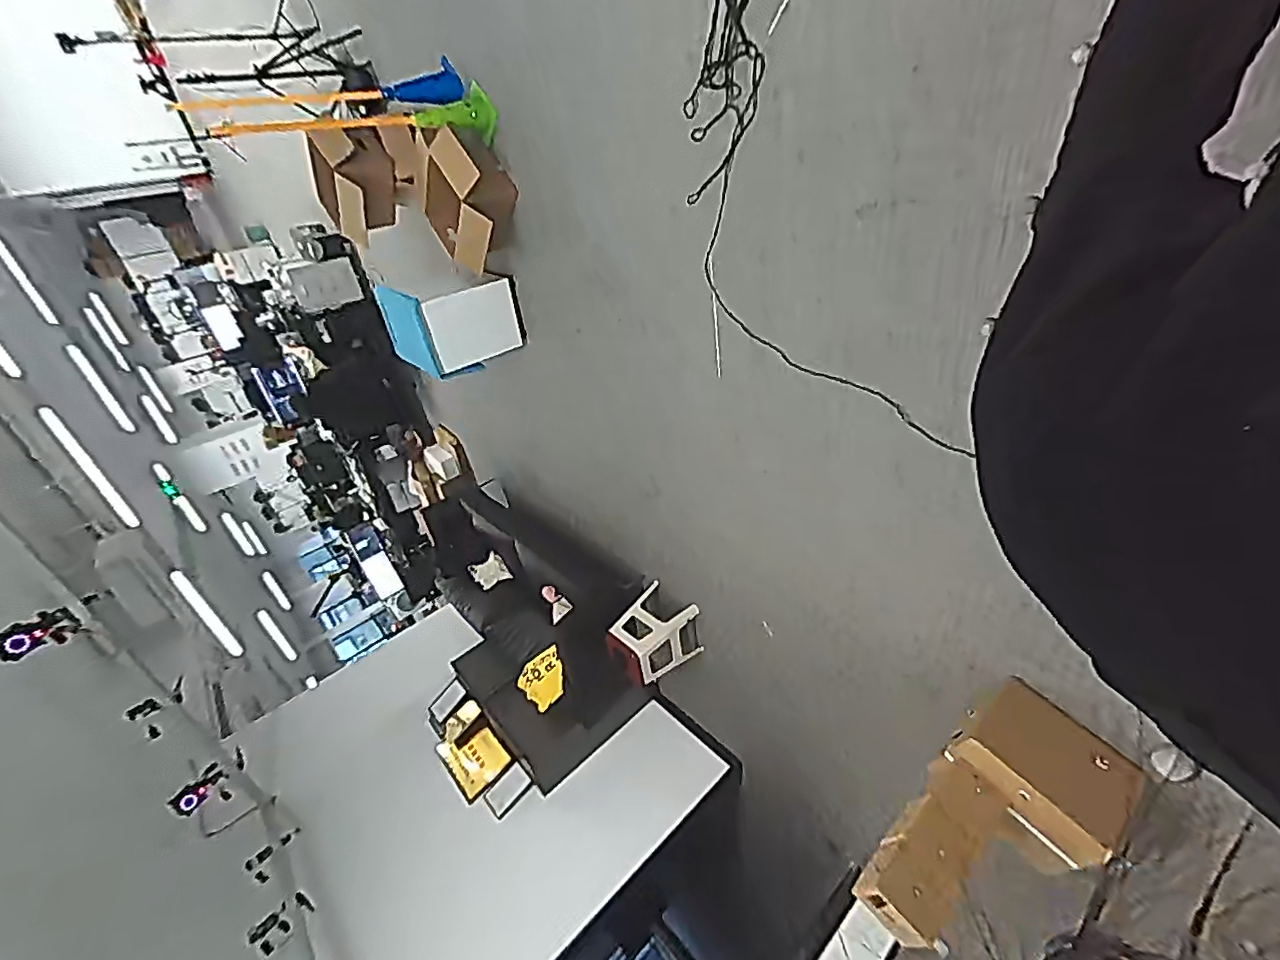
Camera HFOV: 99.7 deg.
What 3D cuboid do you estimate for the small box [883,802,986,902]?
[{"bbox_3d":[0.861,1.081,1.584,0.179,0.176,0.168,42,146,27],"label":"small box"}]

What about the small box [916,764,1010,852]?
[{"bbox_3d":[0.988,1.014,1.660,0.168,0.176,0.179,41,146,28],"label":"small box"}]
